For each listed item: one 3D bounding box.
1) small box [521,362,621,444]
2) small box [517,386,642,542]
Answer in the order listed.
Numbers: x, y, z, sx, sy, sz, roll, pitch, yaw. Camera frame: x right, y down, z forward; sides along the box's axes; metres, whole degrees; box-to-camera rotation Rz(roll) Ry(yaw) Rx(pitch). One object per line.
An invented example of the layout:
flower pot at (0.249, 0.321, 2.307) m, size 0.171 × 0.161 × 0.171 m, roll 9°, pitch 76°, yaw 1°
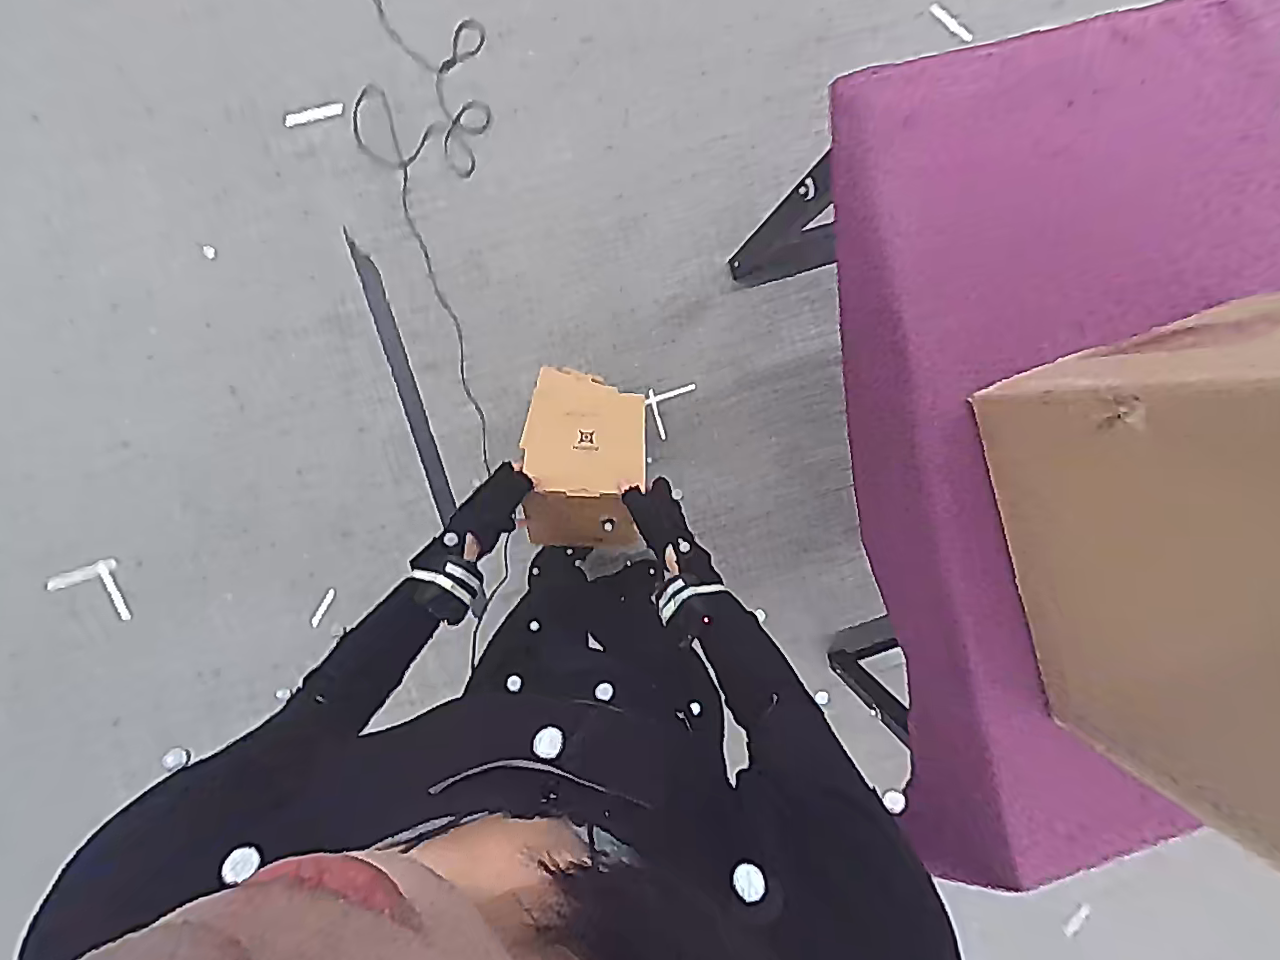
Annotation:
small box at (-0.149, -0.140, 1.171) m, size 0.168 × 0.176 × 0.179 m, roll 17°, pitch 95°, yaw -7°
small box at (-0.084, -0.017, 0.810) m, size 0.168 × 0.176 × 0.179 m, roll 2°, pitch 58°, yaw -5°
